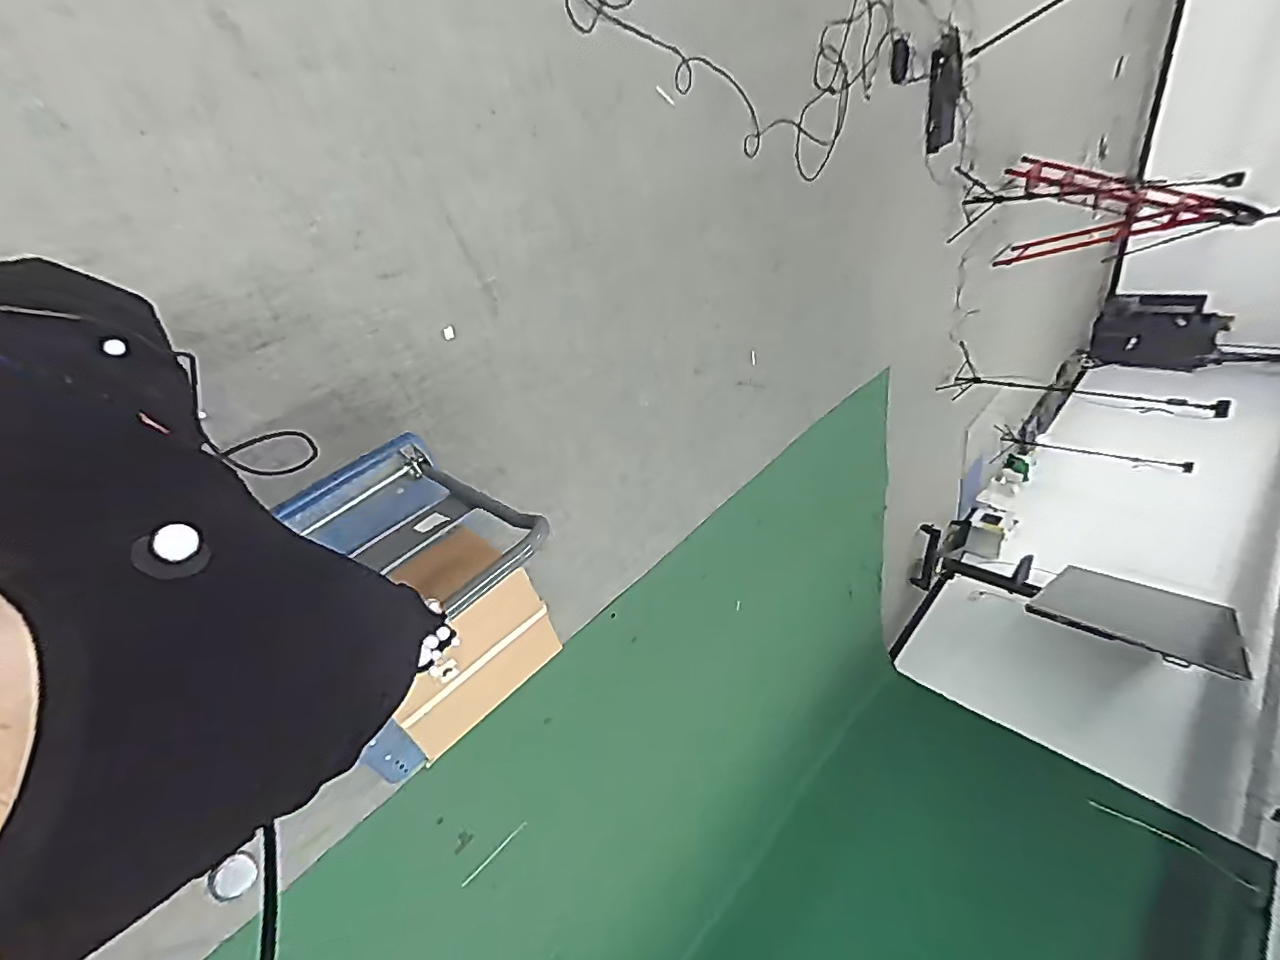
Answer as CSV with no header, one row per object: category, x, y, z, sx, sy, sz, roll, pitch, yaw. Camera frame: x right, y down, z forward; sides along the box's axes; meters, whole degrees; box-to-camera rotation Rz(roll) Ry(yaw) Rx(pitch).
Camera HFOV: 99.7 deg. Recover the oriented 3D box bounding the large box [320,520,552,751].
large box,-0.505,0.368,1.377,0.408,0.320,0.320,-37,127,-29
